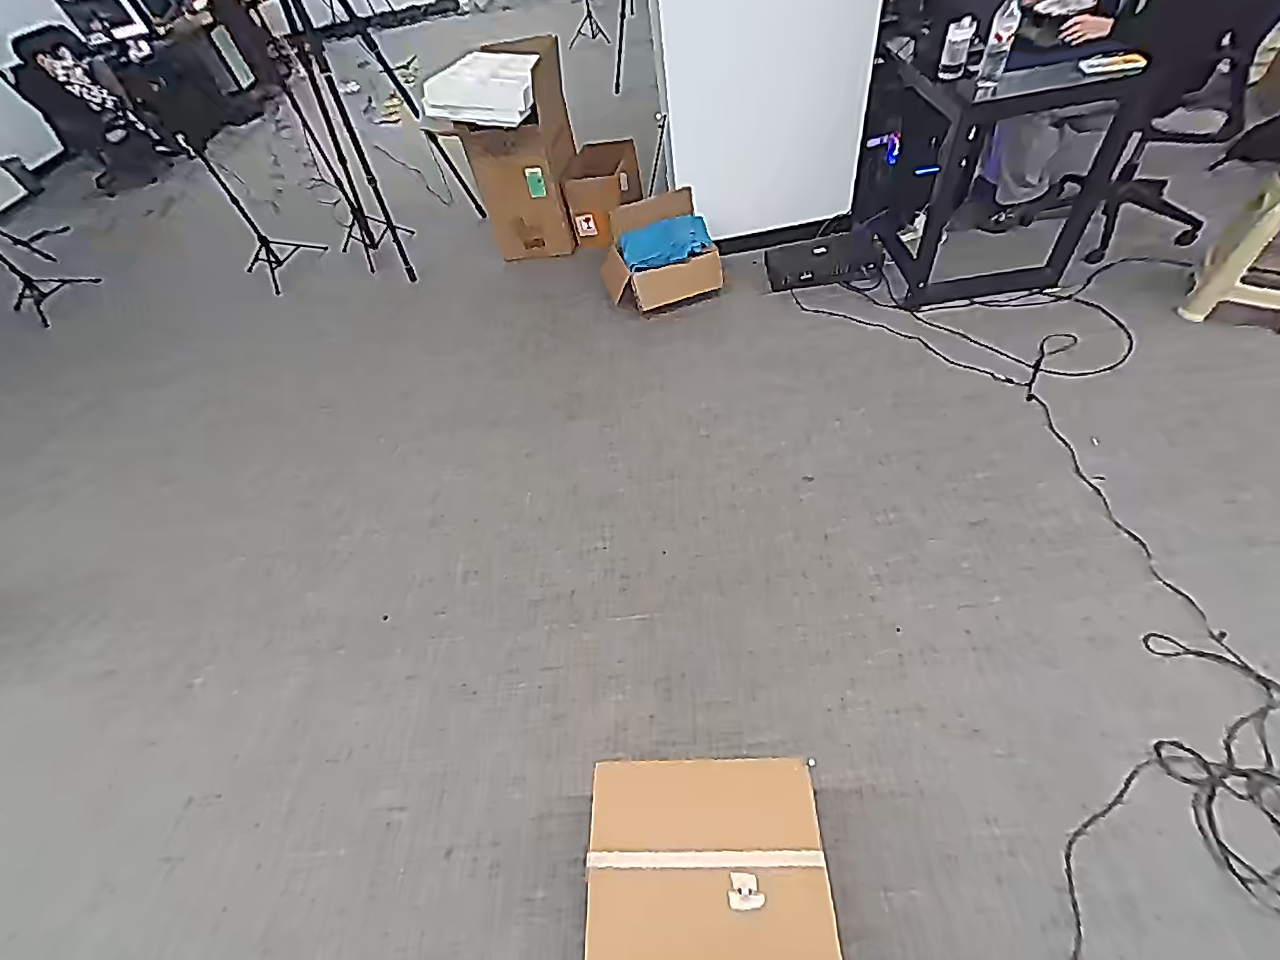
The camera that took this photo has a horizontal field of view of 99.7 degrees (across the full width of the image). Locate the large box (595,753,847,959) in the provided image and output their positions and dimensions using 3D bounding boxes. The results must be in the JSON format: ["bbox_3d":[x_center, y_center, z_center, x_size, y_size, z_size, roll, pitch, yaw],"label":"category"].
[{"bbox_3d":[0.143,0.740,1.051,0.408,0.320,0.320,-5,51,7],"label":"large box"}]
